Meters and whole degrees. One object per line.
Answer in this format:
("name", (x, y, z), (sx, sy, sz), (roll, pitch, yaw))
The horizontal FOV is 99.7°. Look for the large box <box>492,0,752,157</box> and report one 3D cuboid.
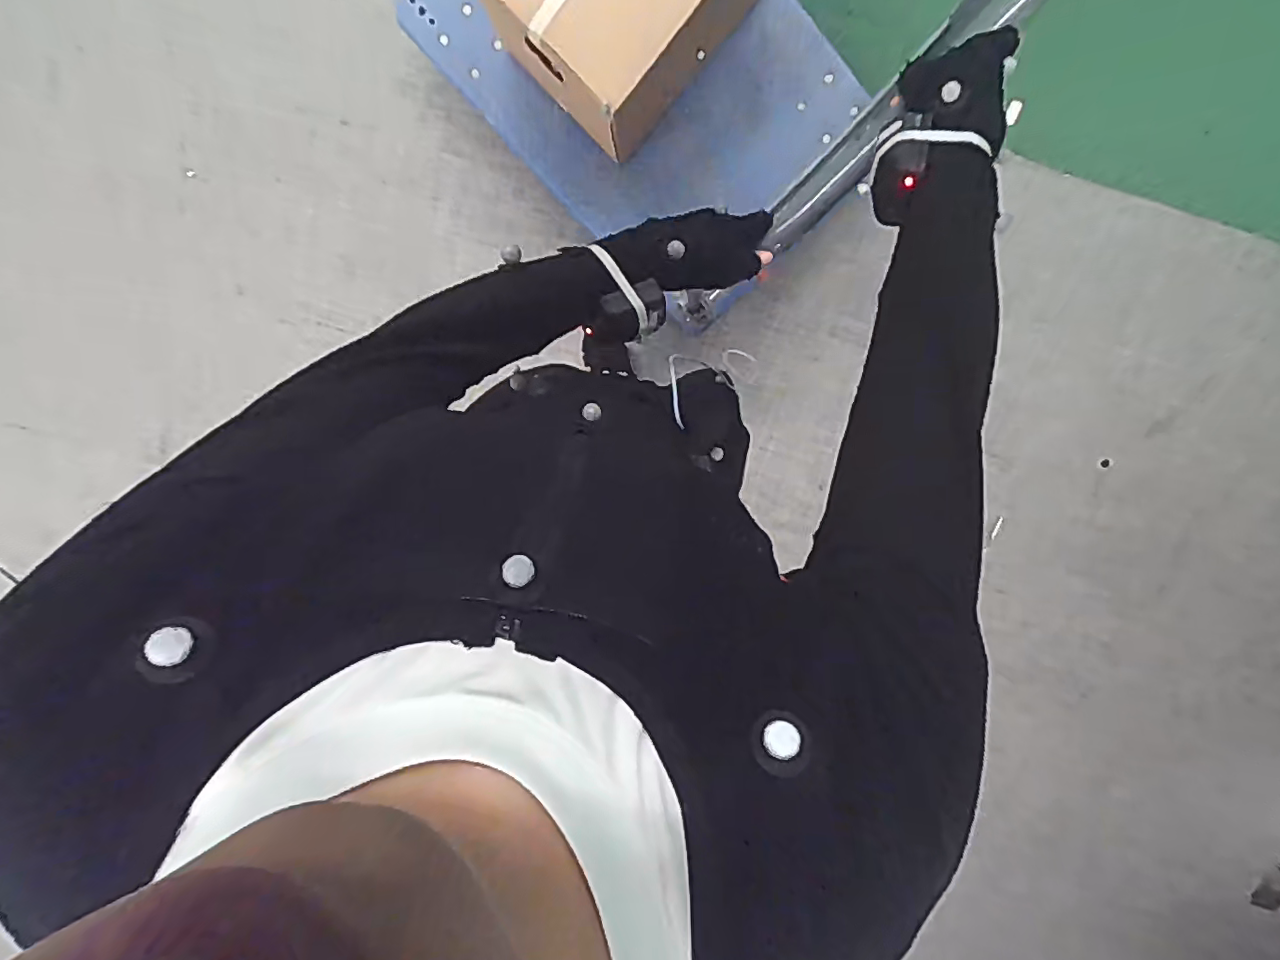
("large box", (-0.006, -0.850, 0.900), (0.320, 0.320, 0.408), (41, 104, -11))
